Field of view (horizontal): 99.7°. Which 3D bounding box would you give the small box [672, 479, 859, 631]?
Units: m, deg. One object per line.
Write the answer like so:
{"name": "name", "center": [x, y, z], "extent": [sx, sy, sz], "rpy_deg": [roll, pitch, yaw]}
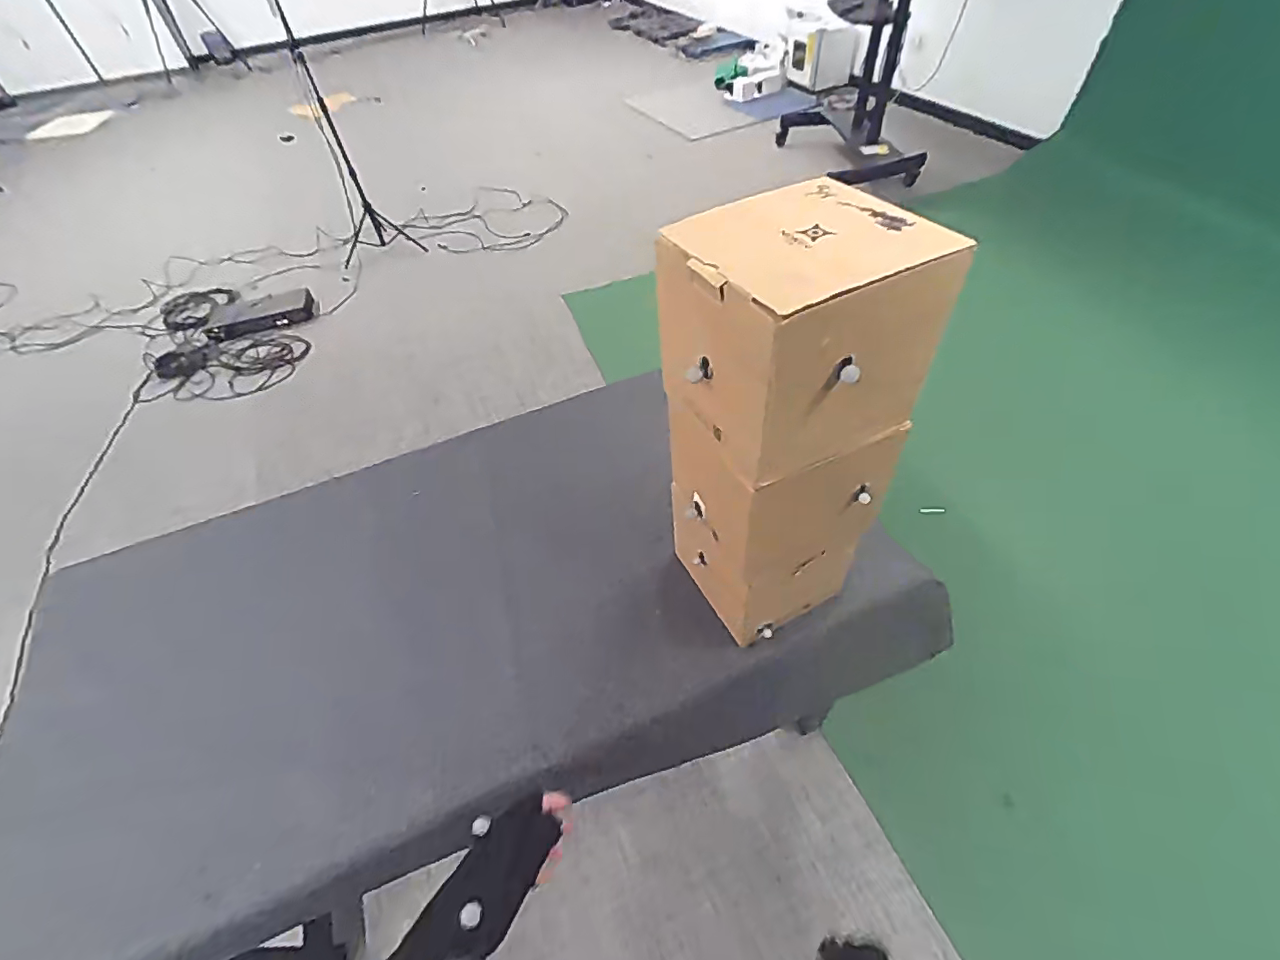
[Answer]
{"name": "small box", "center": [0.158, 0.080, 0.730], "extent": [0.168, 0.176, 0.179], "rpy_deg": [-24, 50, -14]}

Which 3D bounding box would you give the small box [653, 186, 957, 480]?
{"name": "small box", "center": [0.130, -0.129, 0.482], "extent": [0.179, 0.176, 0.168], "rpy_deg": [-24, 50, -14]}

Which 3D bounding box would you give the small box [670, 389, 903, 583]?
{"name": "small box", "center": [0.148, -0.019, 0.602], "extent": [0.179, 0.176, 0.168], "rpy_deg": [-23, 50, -12]}
